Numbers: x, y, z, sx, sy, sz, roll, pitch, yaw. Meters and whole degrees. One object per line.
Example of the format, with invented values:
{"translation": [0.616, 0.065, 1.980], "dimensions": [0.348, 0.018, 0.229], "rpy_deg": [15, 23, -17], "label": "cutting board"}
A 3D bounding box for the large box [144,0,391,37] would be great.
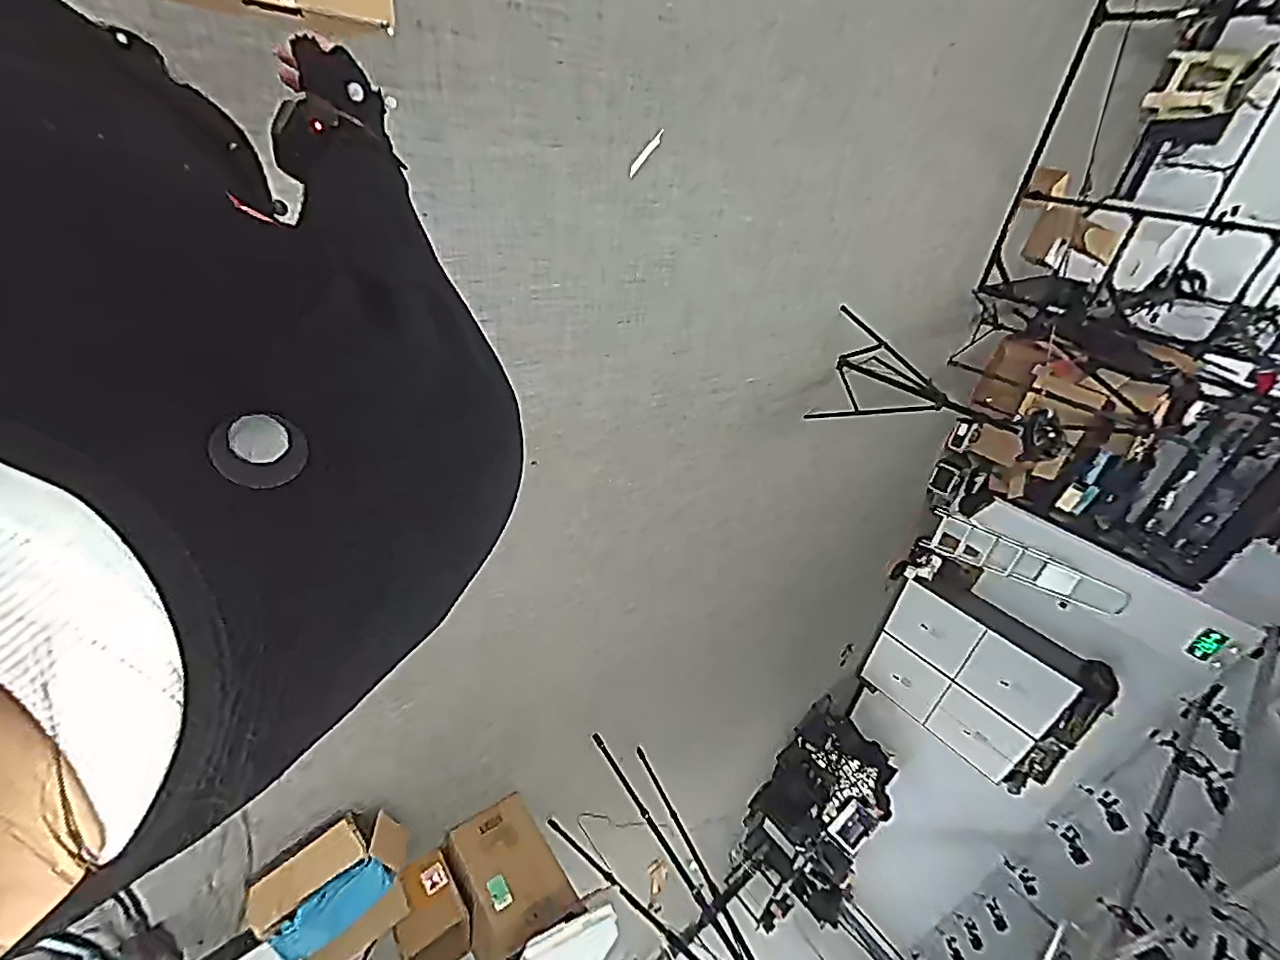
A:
{"translation": [-0.601, -0.930, 0.785], "dimensions": [0.320, 0.320, 0.408], "rpy_deg": [-19, 131, -35], "label": "large box"}
